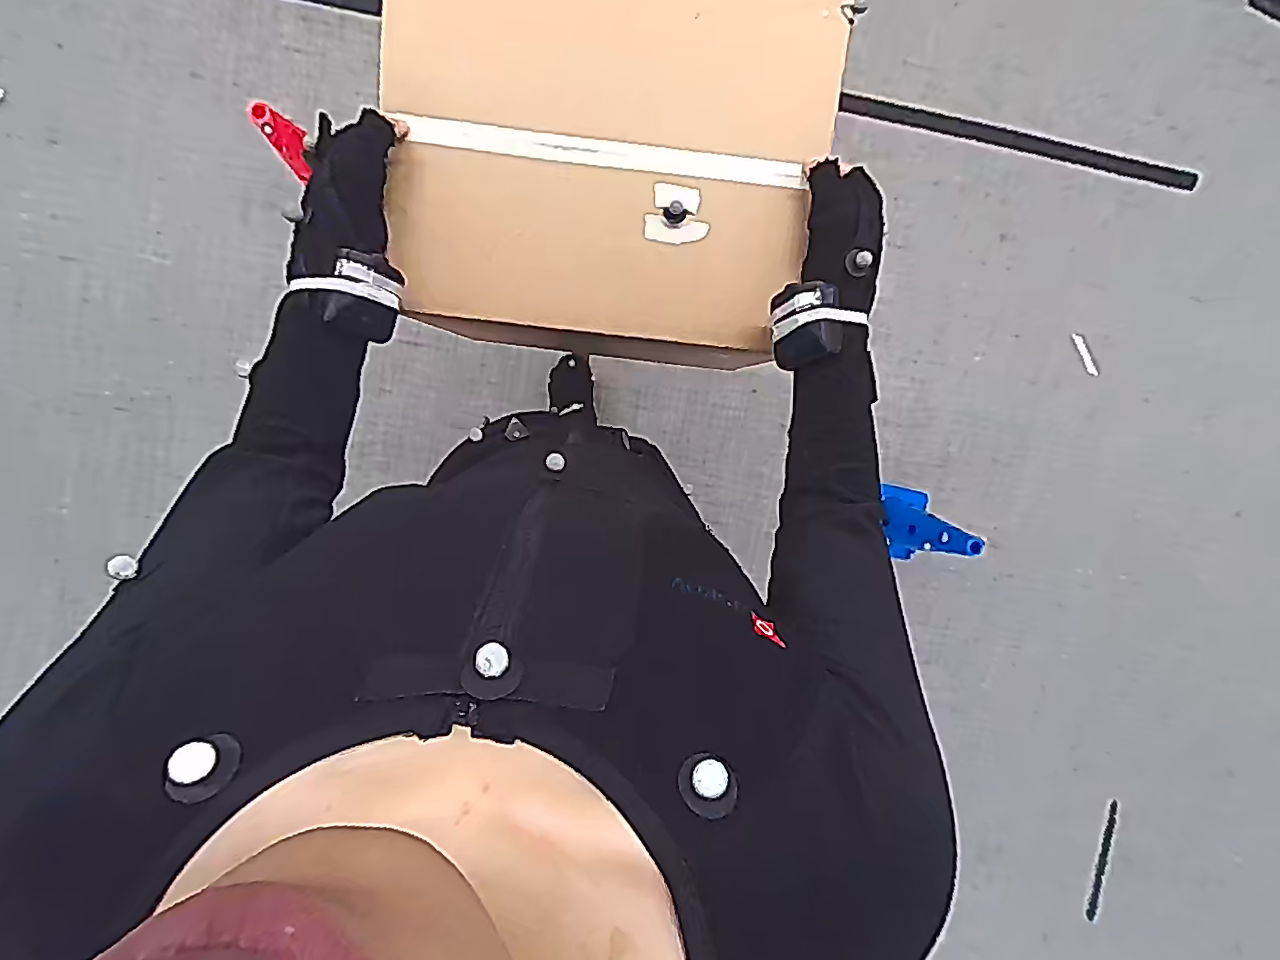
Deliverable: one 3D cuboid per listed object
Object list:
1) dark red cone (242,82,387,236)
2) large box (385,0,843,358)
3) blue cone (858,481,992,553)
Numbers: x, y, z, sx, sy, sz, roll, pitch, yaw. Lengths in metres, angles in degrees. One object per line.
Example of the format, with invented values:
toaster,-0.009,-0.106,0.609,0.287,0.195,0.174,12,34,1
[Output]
dark red cone,-0.711,-0.704,1.156,0.201,0.394,0.202,15,94,-6
large box,-0.036,-0.328,0.639,0.408,0.320,0.320,6,99,-3
blue cone,0.728,0.119,1.362,0.192,0.380,0.193,13,94,-6
